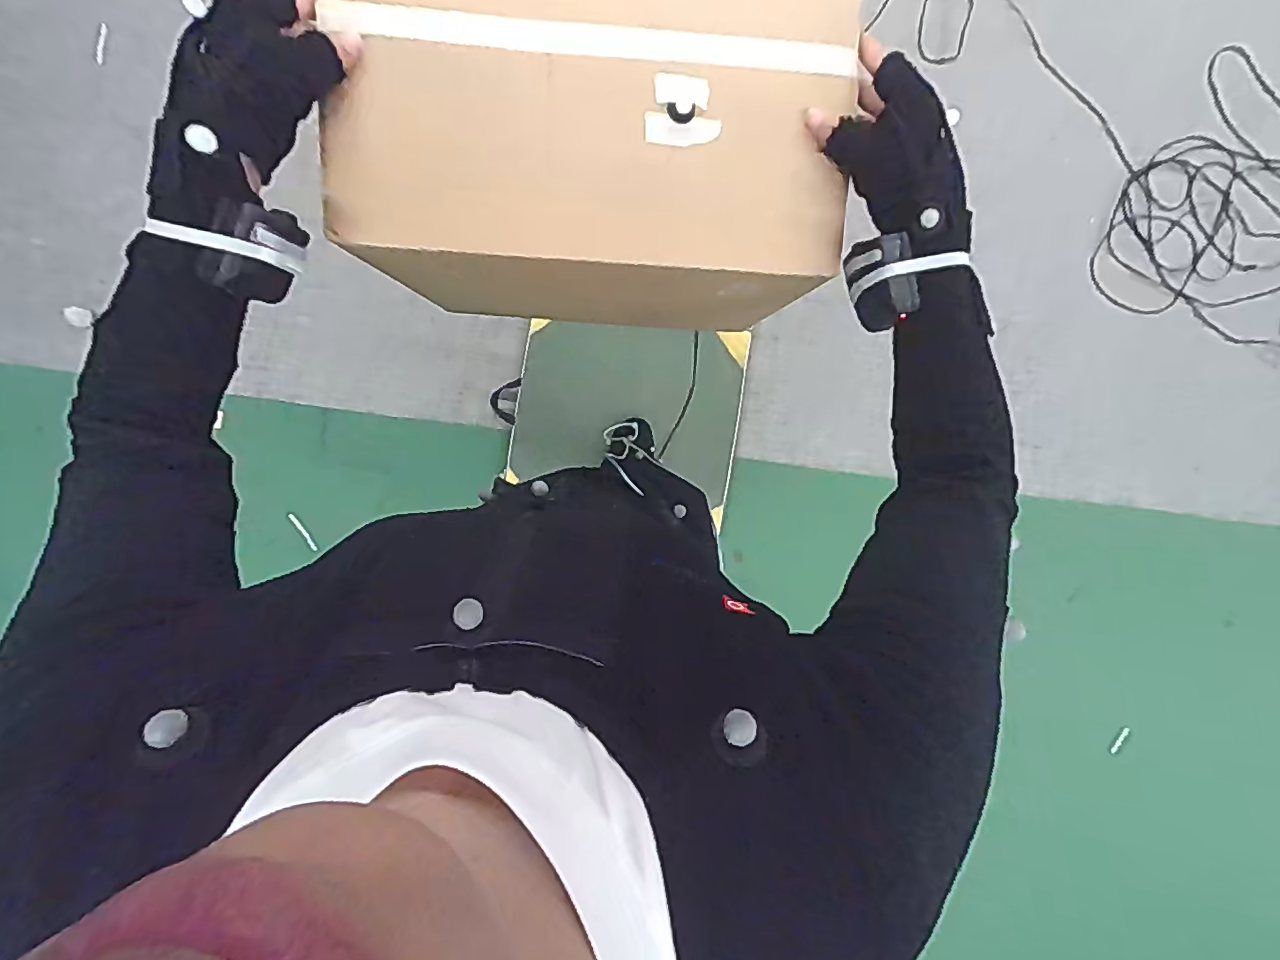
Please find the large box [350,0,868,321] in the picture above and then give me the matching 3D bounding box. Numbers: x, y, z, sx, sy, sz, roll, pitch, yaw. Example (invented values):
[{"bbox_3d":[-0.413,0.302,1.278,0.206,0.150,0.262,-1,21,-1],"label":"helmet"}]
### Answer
[{"bbox_3d":[-0.032,-0.355,0.566,0.408,0.320,0.320,2,98,-5],"label":"large box"}]
